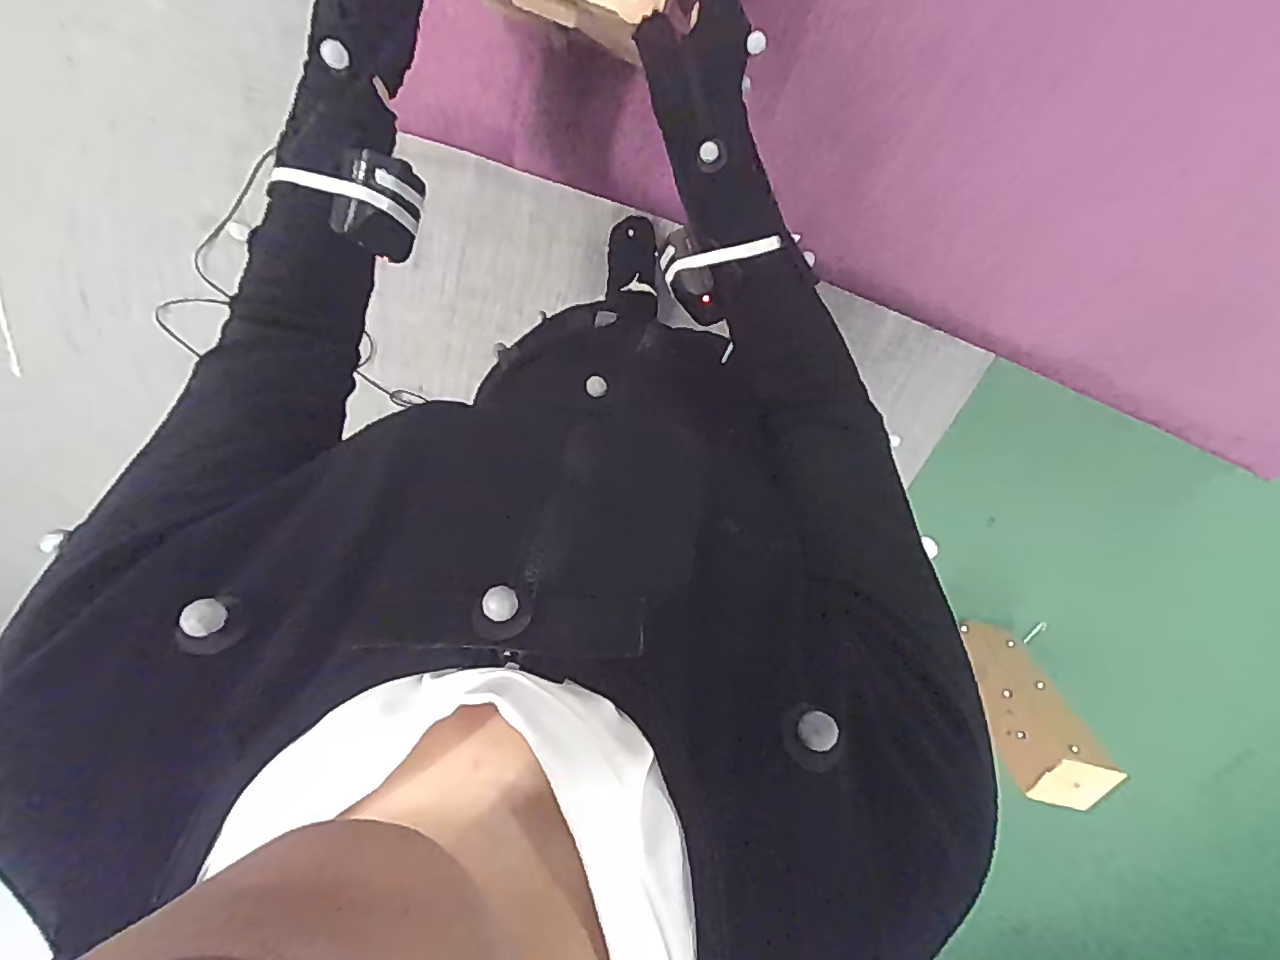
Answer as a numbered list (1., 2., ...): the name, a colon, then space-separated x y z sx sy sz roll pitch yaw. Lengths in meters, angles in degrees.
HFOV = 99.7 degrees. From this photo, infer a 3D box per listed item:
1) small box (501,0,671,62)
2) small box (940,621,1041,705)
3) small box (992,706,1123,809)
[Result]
1. small box: -0.038 -0.460 0.410 0.168 0.176 0.179 16 119 -9
2. small box: 1.103 0.576 1.720 0.179 0.176 0.168 19 118 -7
3. small box: 1.092 0.730 1.431 0.179 0.176 0.168 16 119 -5
